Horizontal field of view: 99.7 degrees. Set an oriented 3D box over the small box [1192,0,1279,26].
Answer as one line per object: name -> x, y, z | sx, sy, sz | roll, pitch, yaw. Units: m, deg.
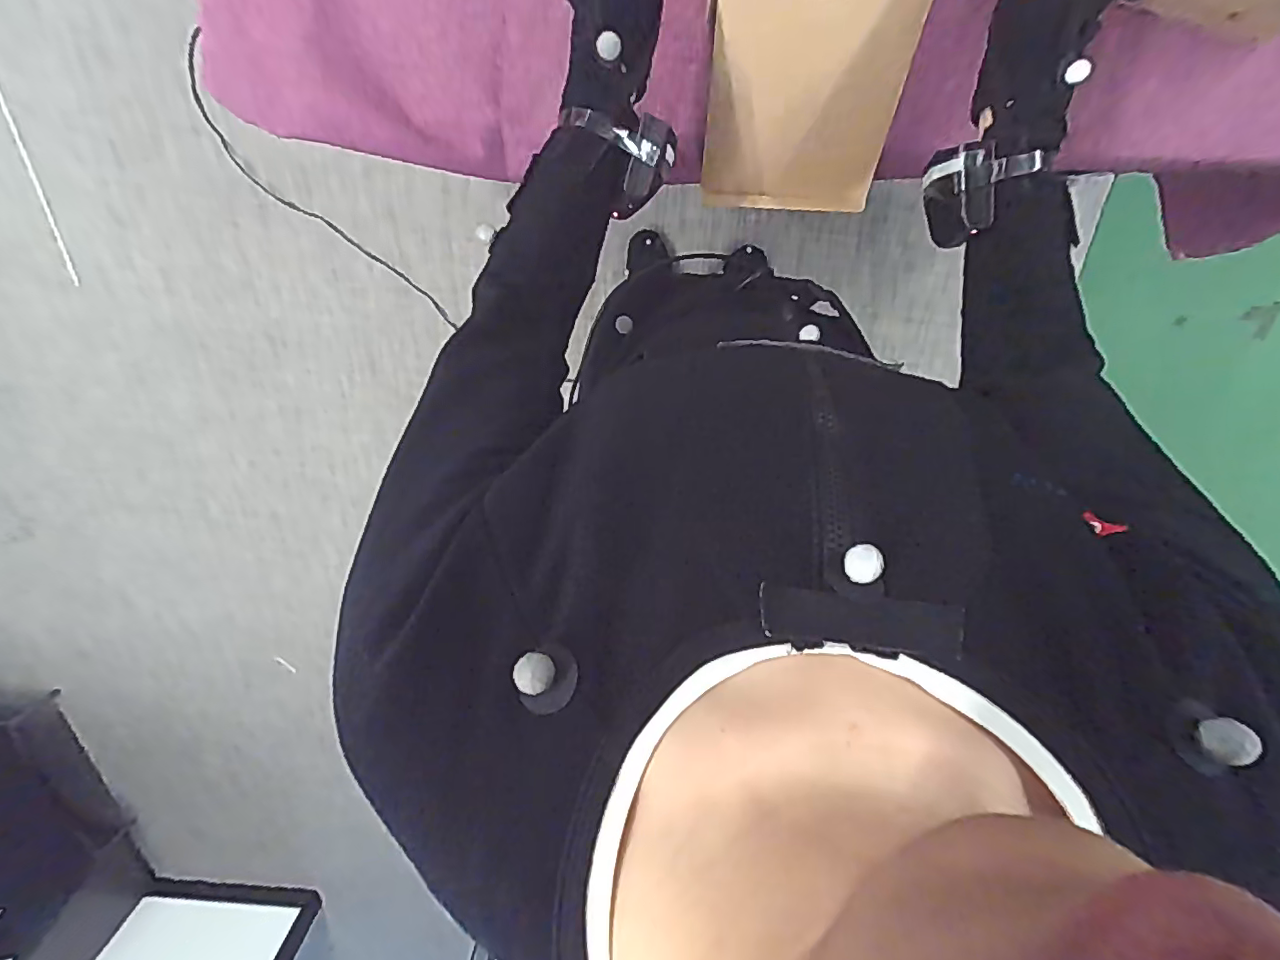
small box -> 0.533, -0.480, 0.399 | 0.168, 0.176, 0.179 | 13, 115, -2
